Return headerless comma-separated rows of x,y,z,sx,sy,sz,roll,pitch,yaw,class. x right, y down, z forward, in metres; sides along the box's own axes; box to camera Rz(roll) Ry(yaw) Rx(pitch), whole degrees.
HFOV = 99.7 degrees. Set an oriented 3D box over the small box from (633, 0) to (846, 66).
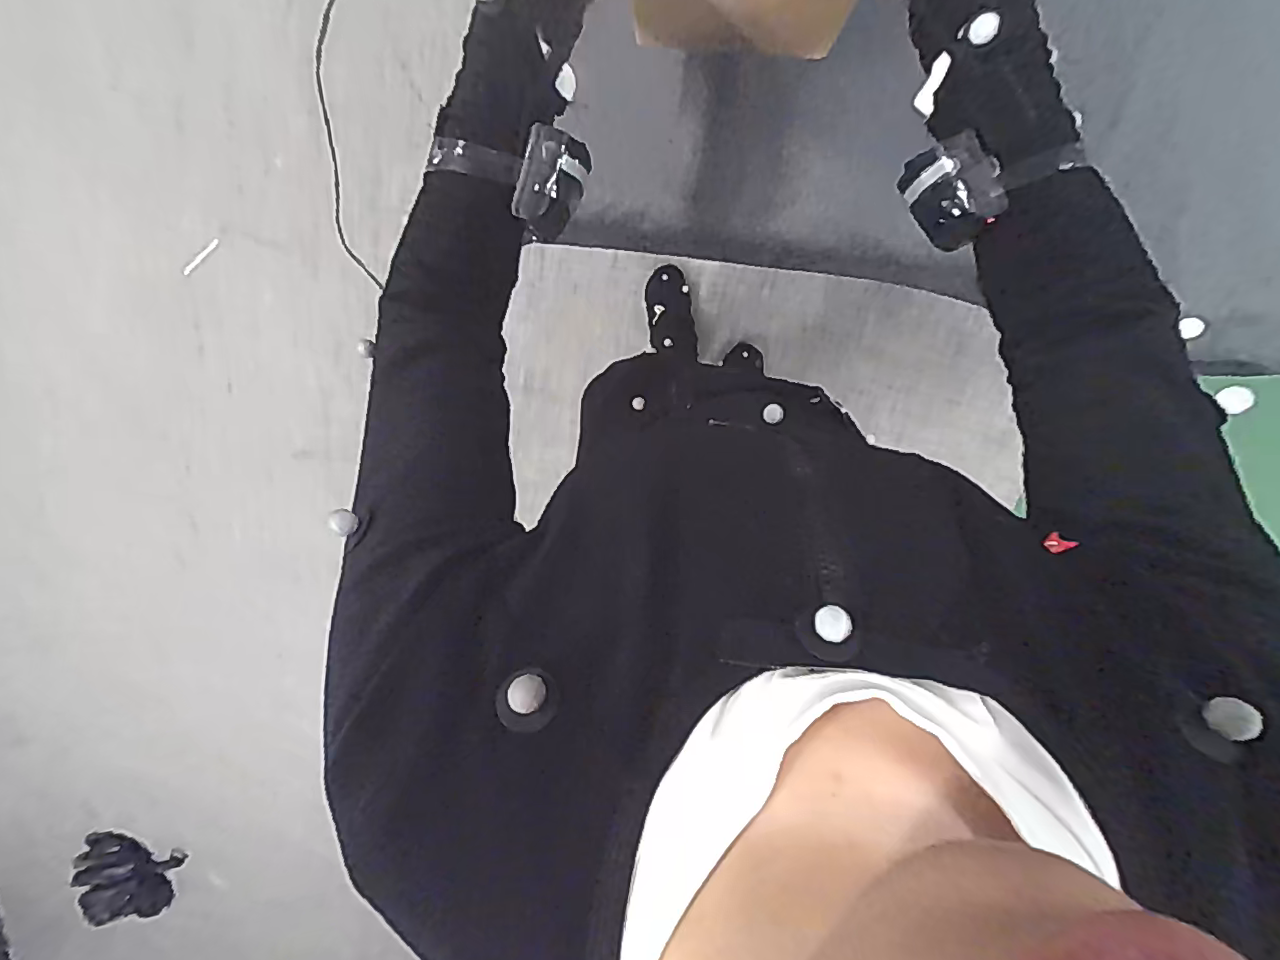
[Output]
0.084,-0.450,0.412,0.179,0.176,0.168,5,107,2,small box
